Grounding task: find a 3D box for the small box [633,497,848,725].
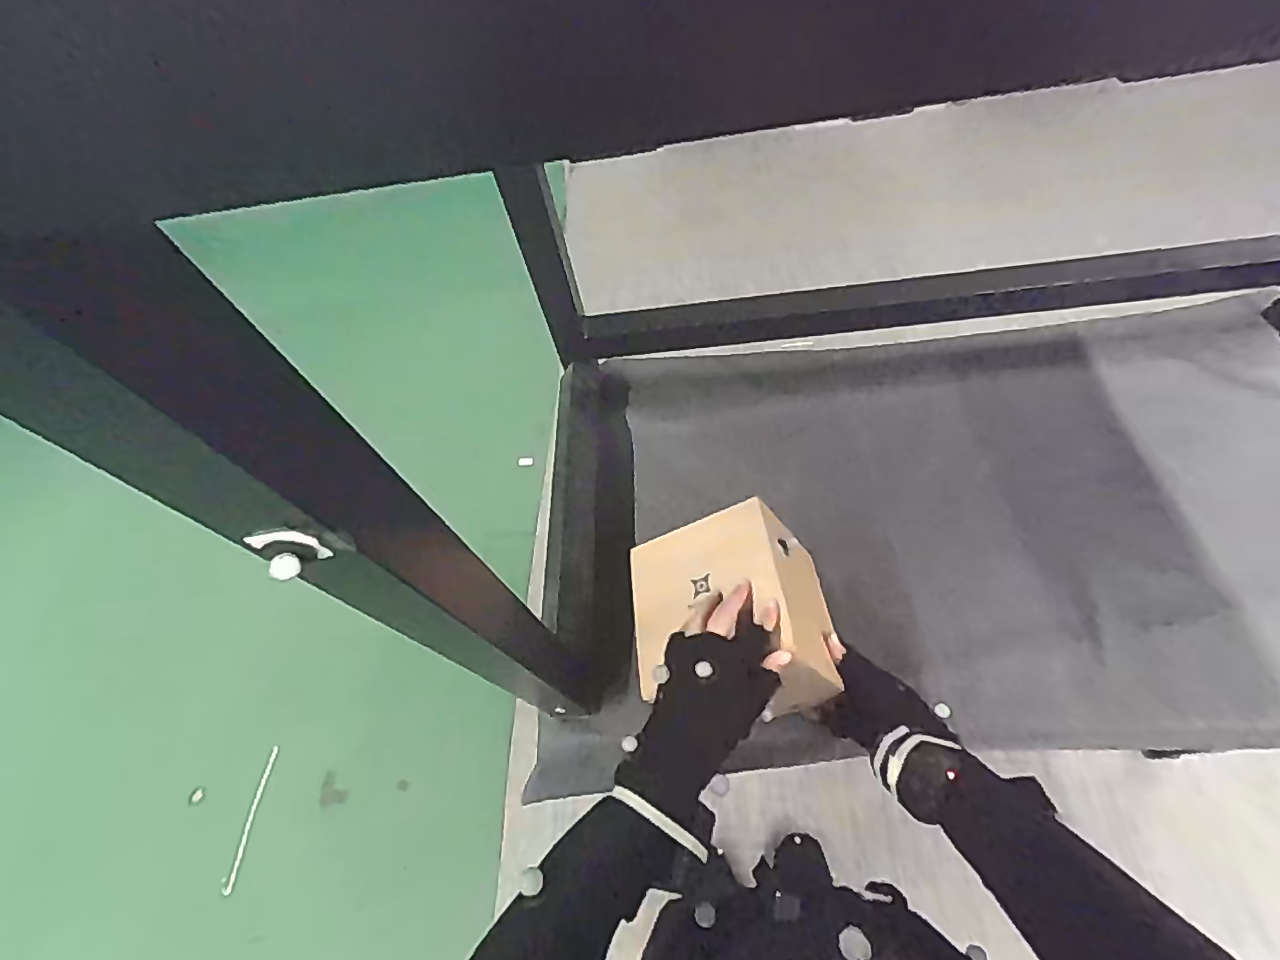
[{"bbox_3d":[0.108,0.153,0.602,0.168,0.176,0.179,-25,48,24],"label":"small box"}]
